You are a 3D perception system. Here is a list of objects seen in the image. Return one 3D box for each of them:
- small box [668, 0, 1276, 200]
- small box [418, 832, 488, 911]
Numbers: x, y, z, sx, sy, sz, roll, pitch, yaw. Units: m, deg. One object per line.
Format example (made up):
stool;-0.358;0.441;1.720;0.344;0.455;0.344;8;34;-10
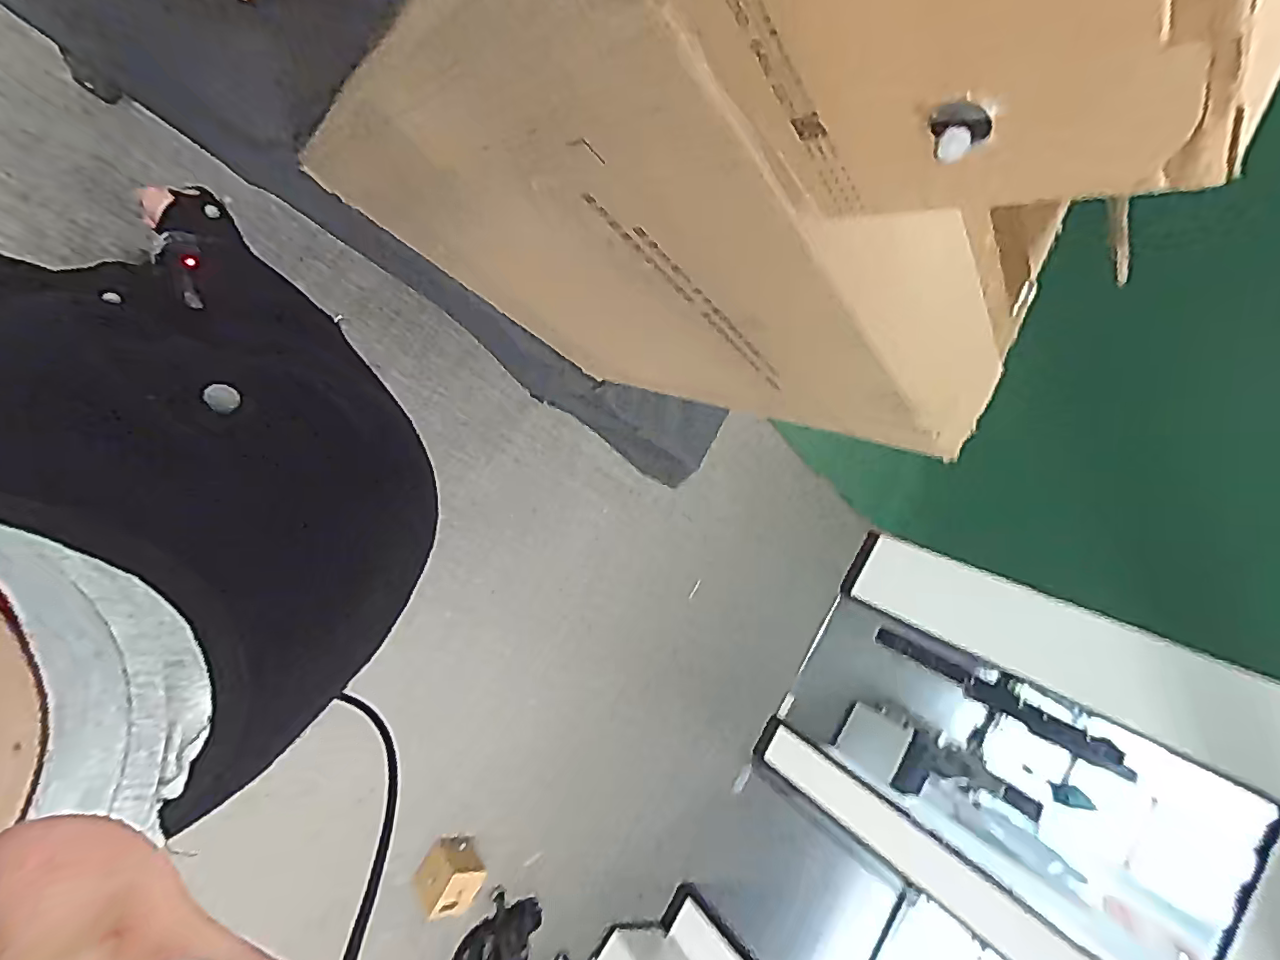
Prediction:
small box;0.117;-0.229;0.189;0.168;0.176;0.179;30;86;-43
small box;-0.716;1.475;2.048;0.168;0.176;0.179;36;82;-44
